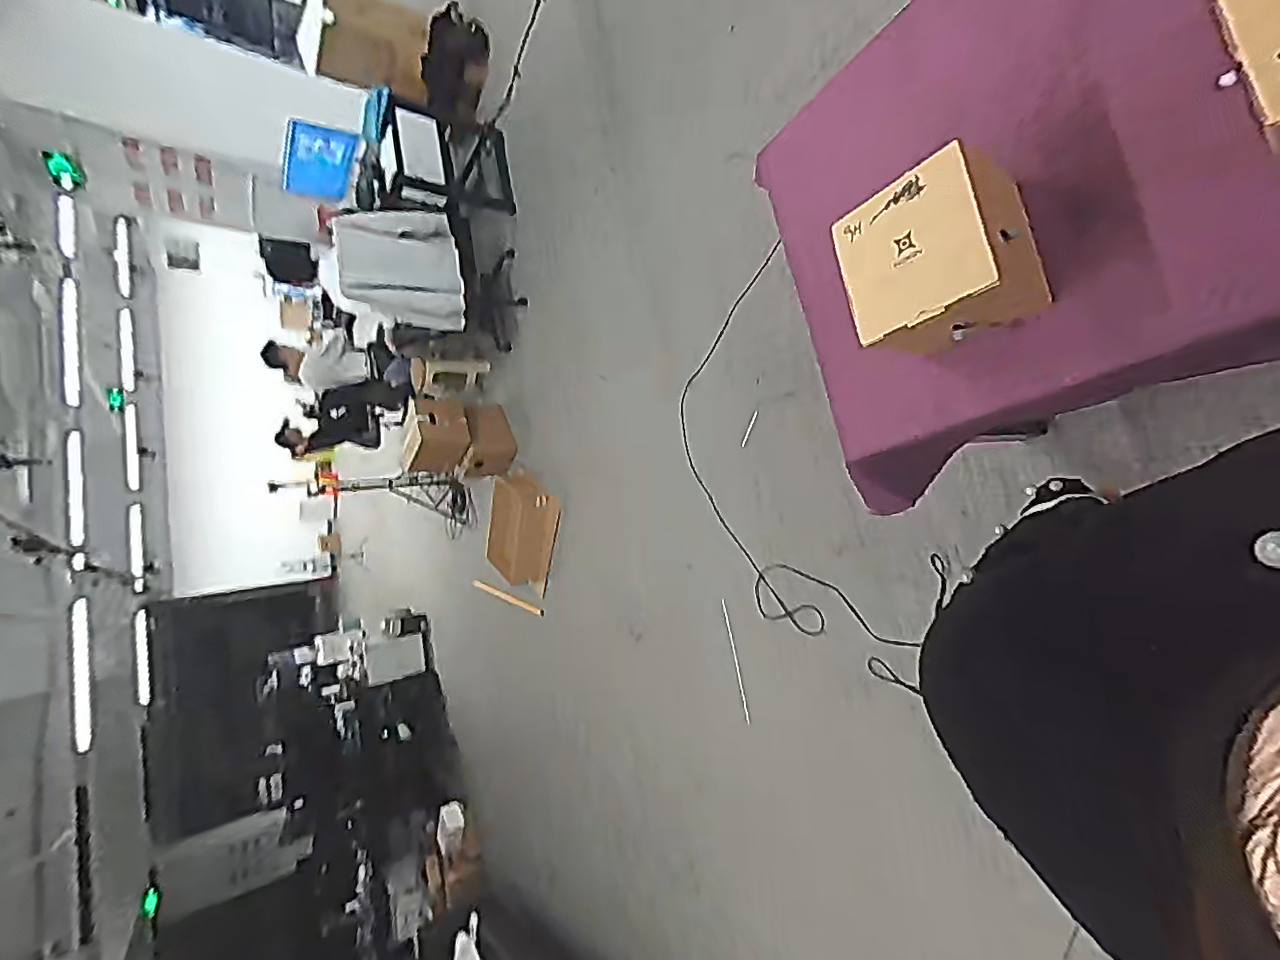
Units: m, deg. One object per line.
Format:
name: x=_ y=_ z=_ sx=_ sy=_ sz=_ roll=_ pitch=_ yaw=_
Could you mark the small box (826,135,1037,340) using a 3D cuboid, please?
small box: x=0.375 y=-0.291 z=0.697 sx=0.168 sy=0.176 sz=0.179 roll=-20 pitch=79 yaw=50
